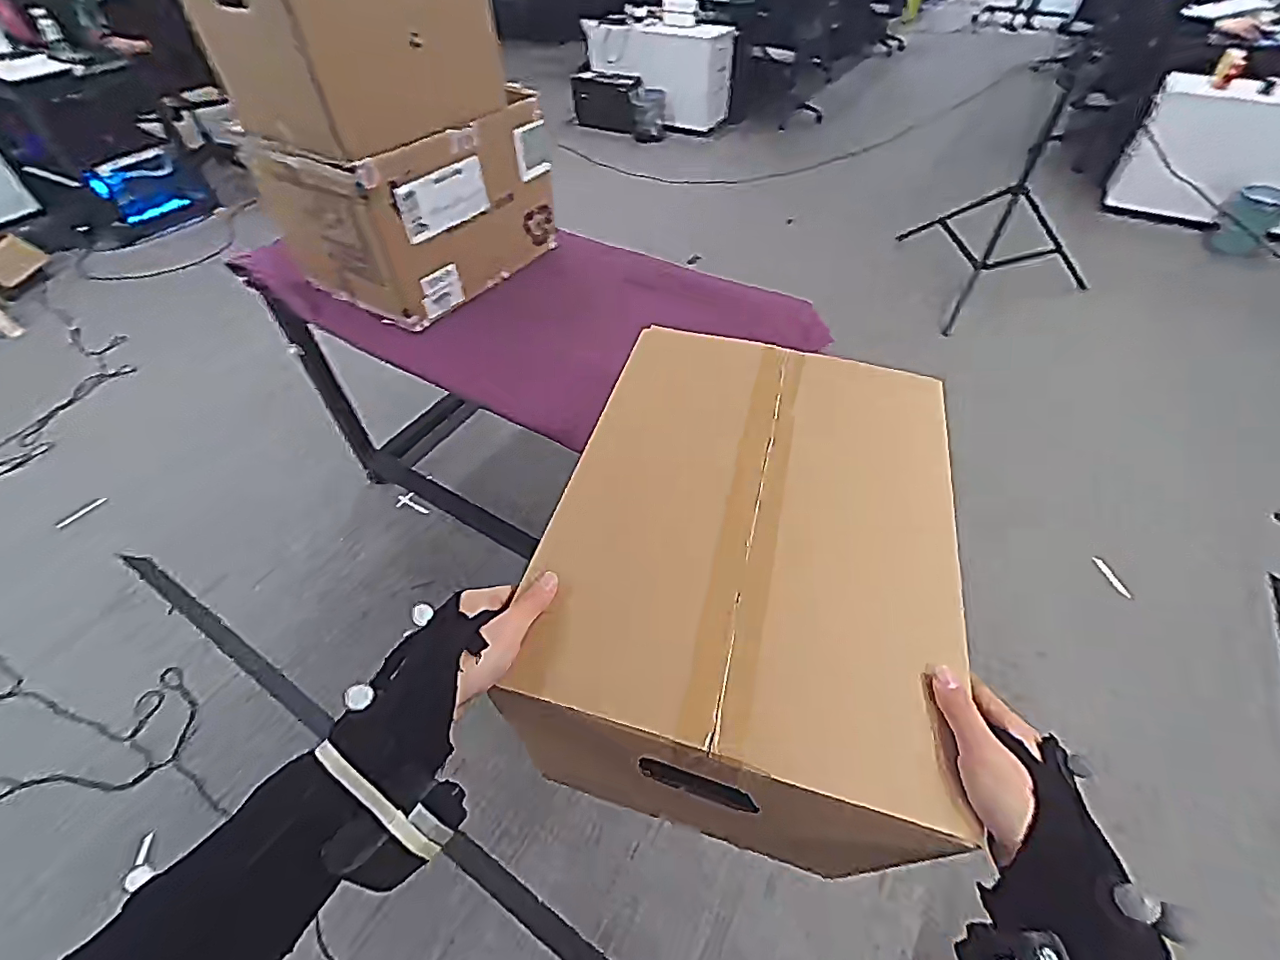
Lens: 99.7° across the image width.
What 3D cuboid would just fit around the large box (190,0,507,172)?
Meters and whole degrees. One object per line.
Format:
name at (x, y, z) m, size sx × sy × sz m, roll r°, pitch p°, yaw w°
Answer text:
large box at (-0.511, -0.818, 0.995) m, size 0.320 × 0.320 × 0.408 m, roll 23°, pitch 53°, yaw 22°
